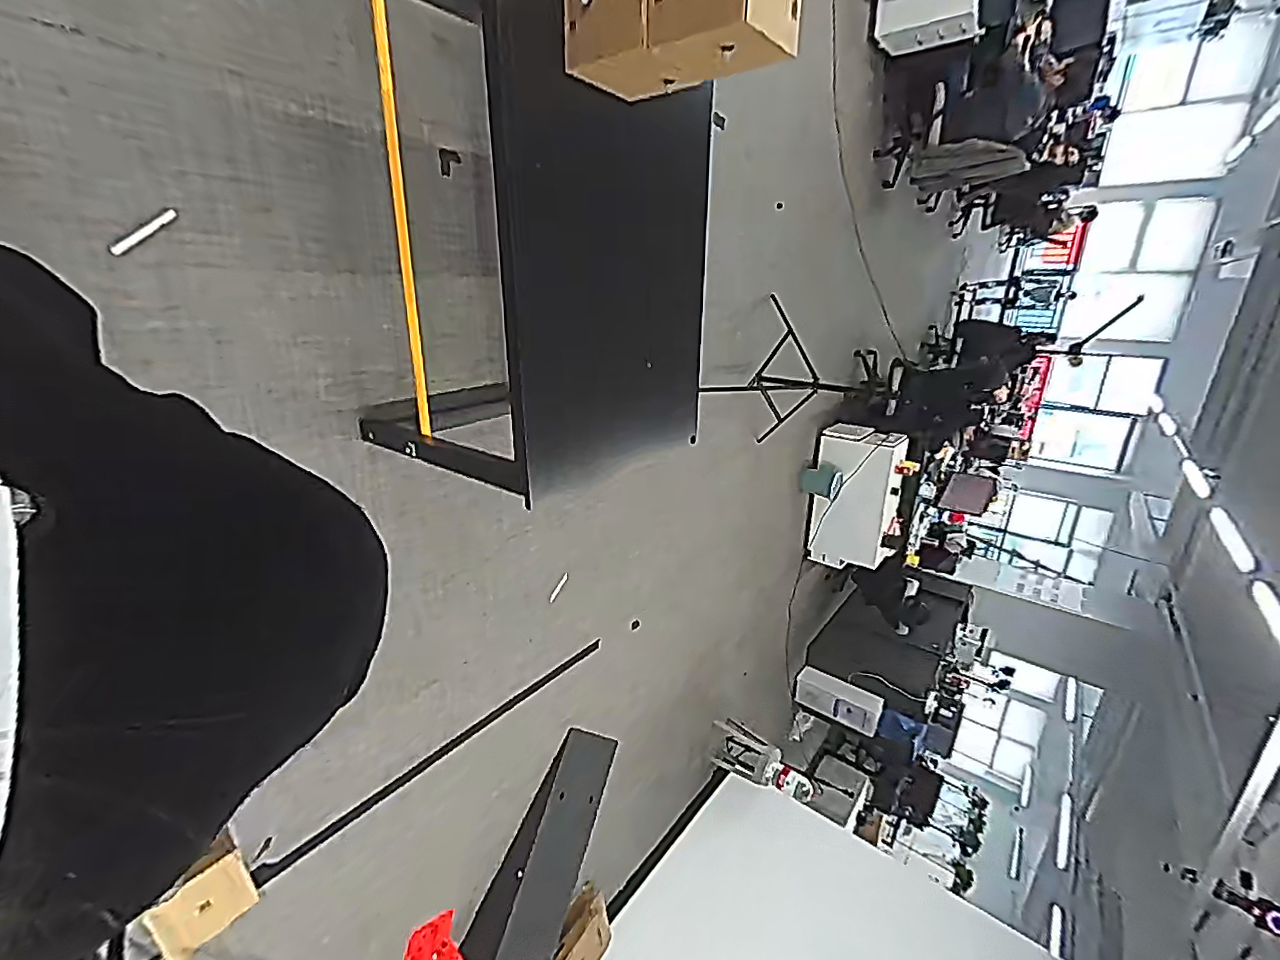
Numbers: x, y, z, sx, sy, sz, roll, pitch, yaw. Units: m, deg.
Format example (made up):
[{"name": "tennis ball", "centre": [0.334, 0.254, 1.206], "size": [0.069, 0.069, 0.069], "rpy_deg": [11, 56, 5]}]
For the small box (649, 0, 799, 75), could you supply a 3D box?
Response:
[{"name": "small box", "centre": [0.126, -0.738, 0.810], "size": [0.179, 0.176, 0.168], "rpy_deg": [-24, 121, -47]}]

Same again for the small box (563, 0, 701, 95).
[{"name": "small box", "centre": [-0.008, -0.769, 0.900], "size": [0.179, 0.176, 0.168], "rpy_deg": [-20, 118, -48]}]

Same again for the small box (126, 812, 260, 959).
[{"name": "small box", "centre": [-0.976, 0.880, 1.183], "size": [0.168, 0.176, 0.179], "rpy_deg": [-28, 122, -47]}]
